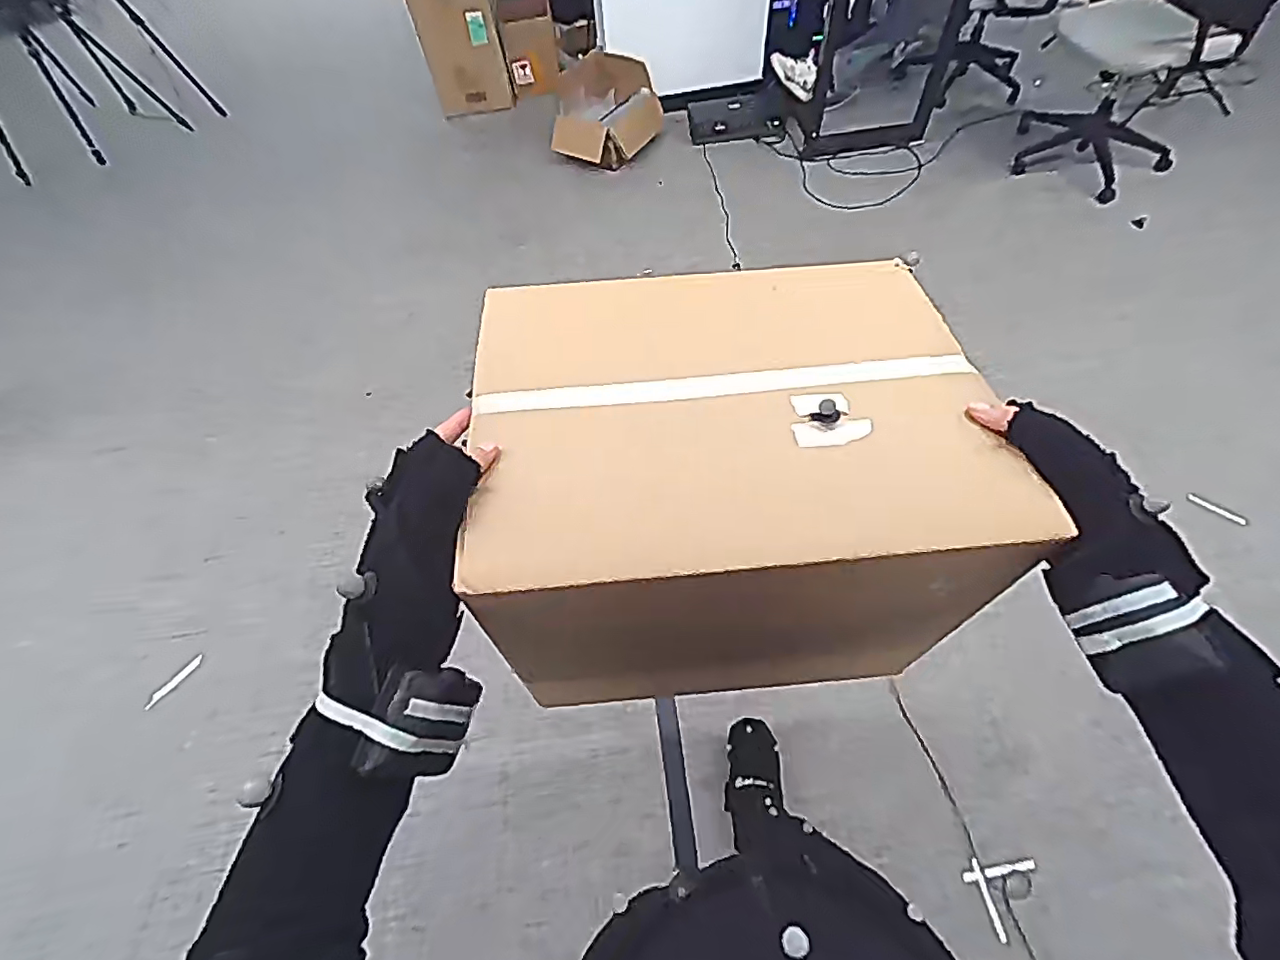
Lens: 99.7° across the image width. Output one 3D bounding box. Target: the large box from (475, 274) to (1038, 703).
[{"bbox_3d":[0.070,0.018,0.574,0.408,0.320,0.320,-5,54,-2],"label":"large box"}]
